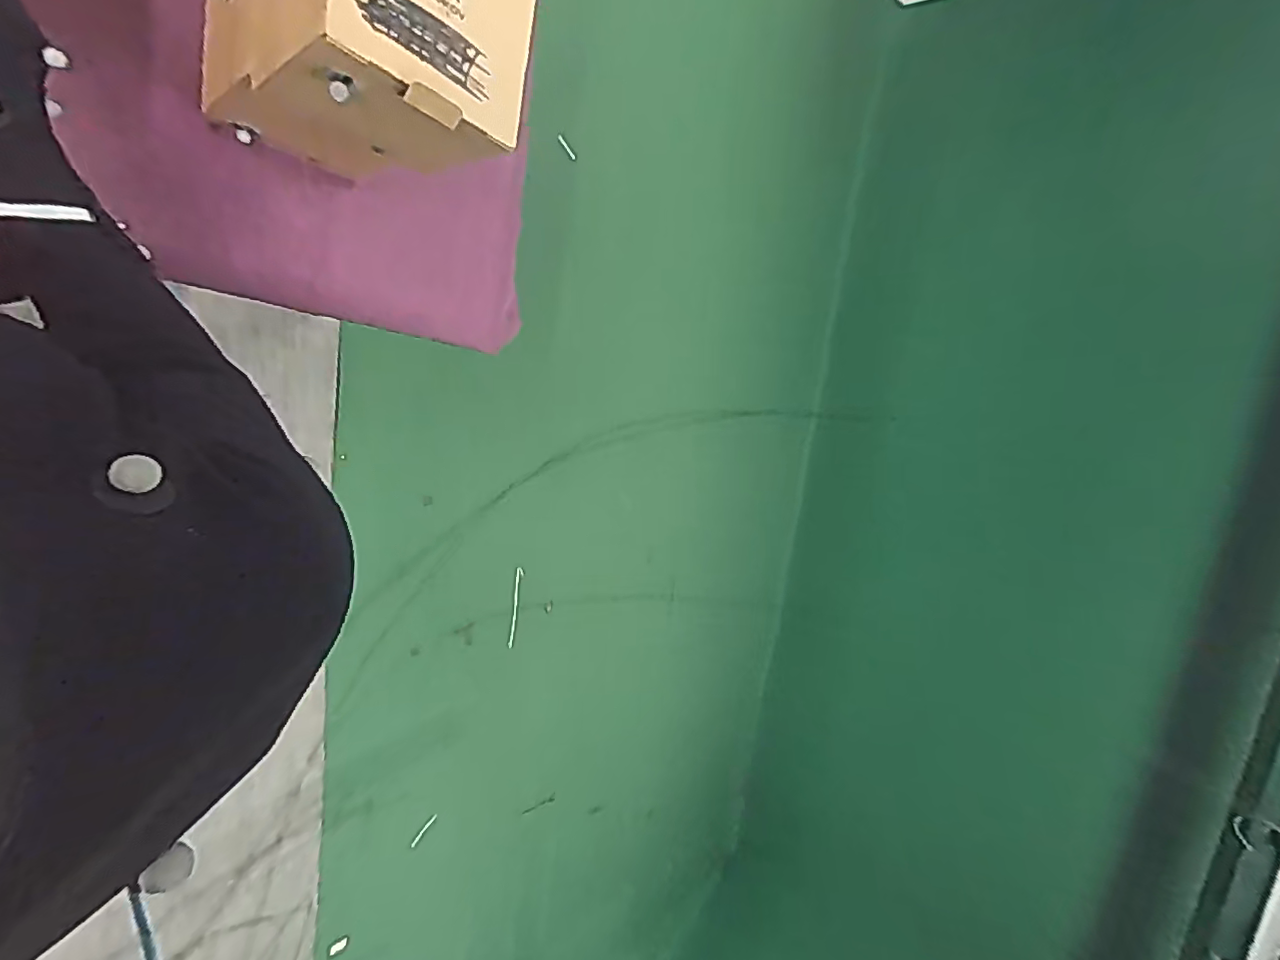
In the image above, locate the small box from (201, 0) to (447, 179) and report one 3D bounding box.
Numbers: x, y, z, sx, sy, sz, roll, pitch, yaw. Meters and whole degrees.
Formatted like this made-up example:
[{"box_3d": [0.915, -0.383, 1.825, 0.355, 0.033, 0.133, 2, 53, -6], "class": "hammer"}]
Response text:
[{"box_3d": [-0.337, -0.449, 0.575, 0.168, 0.176, 0.179, 5, 99, -54], "class": "small box"}]
